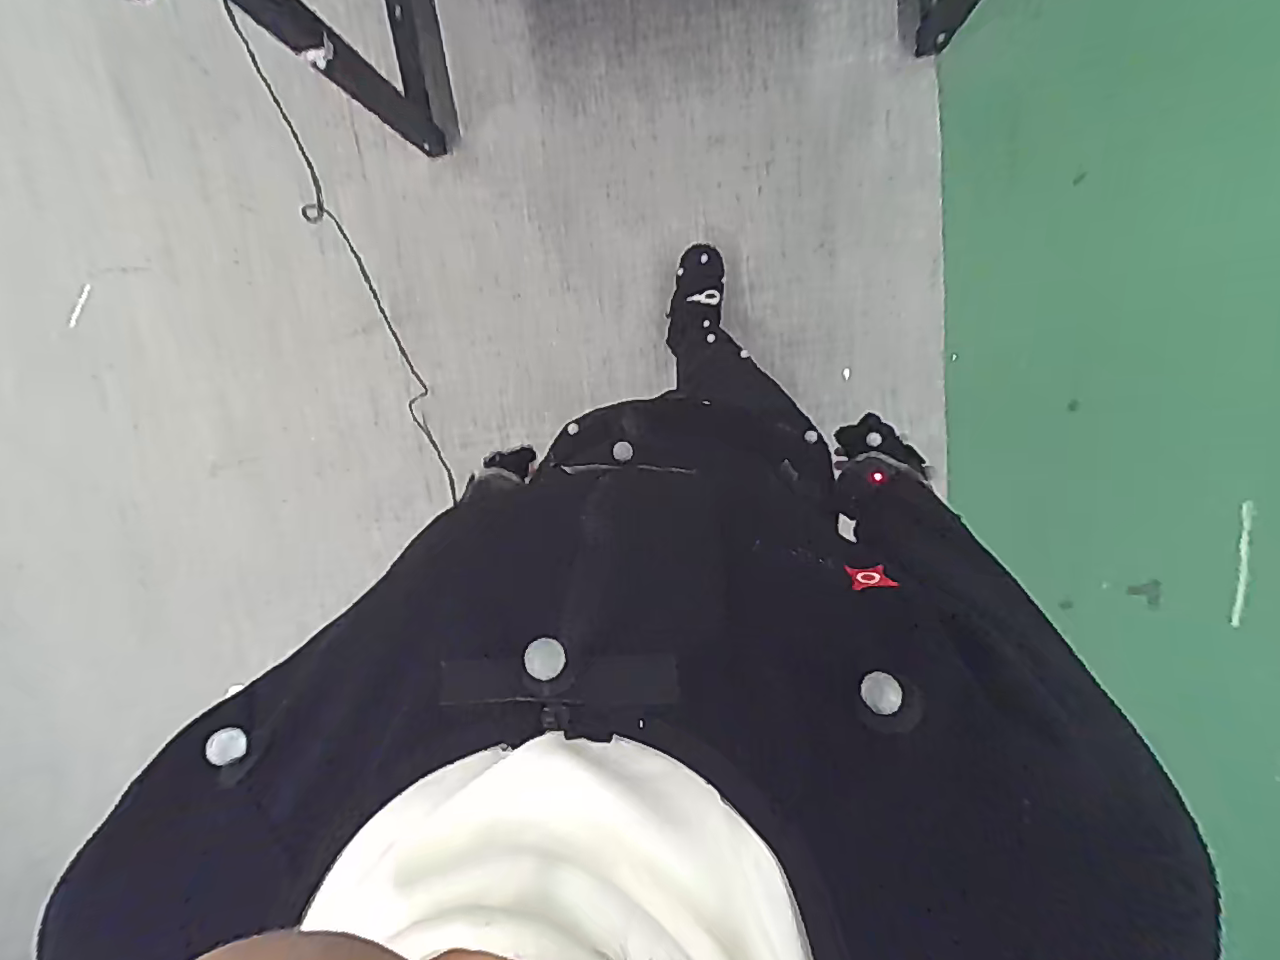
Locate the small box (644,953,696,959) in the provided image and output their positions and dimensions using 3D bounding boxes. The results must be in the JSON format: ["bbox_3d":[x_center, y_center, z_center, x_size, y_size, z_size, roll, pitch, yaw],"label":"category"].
[{"bbox_3d":[0.086,1.613,1.669,0.179,0.176,0.168,-1,102,7],"label":"small box"}]
